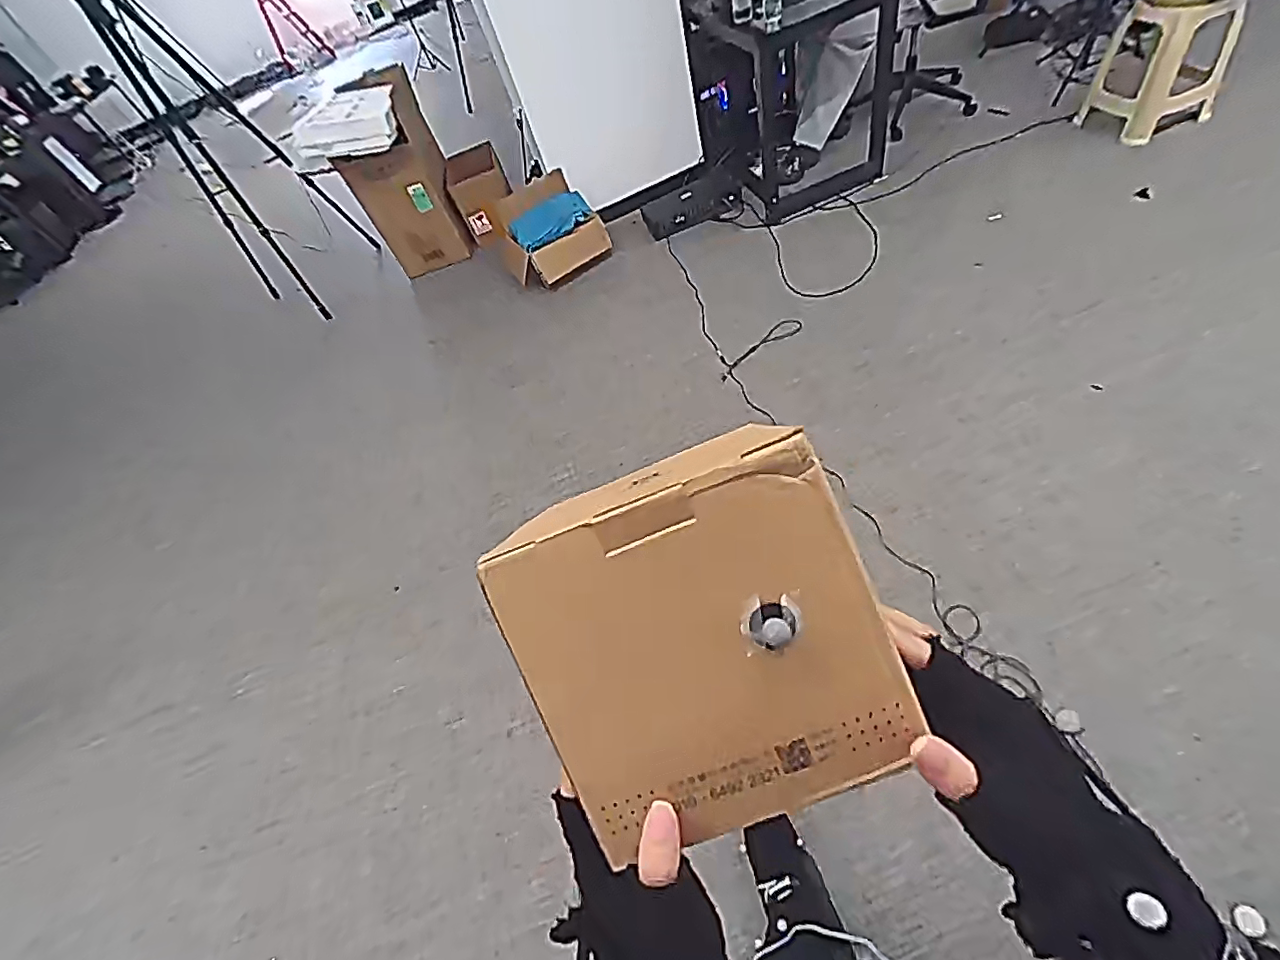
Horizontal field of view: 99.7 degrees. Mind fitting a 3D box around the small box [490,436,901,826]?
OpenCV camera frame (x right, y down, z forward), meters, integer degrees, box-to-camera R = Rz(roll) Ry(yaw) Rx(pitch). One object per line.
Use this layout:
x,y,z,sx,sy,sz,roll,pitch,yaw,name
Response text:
0.037,0.084,0.350,0.168,0.179,0.176,-23,94,7,small box
